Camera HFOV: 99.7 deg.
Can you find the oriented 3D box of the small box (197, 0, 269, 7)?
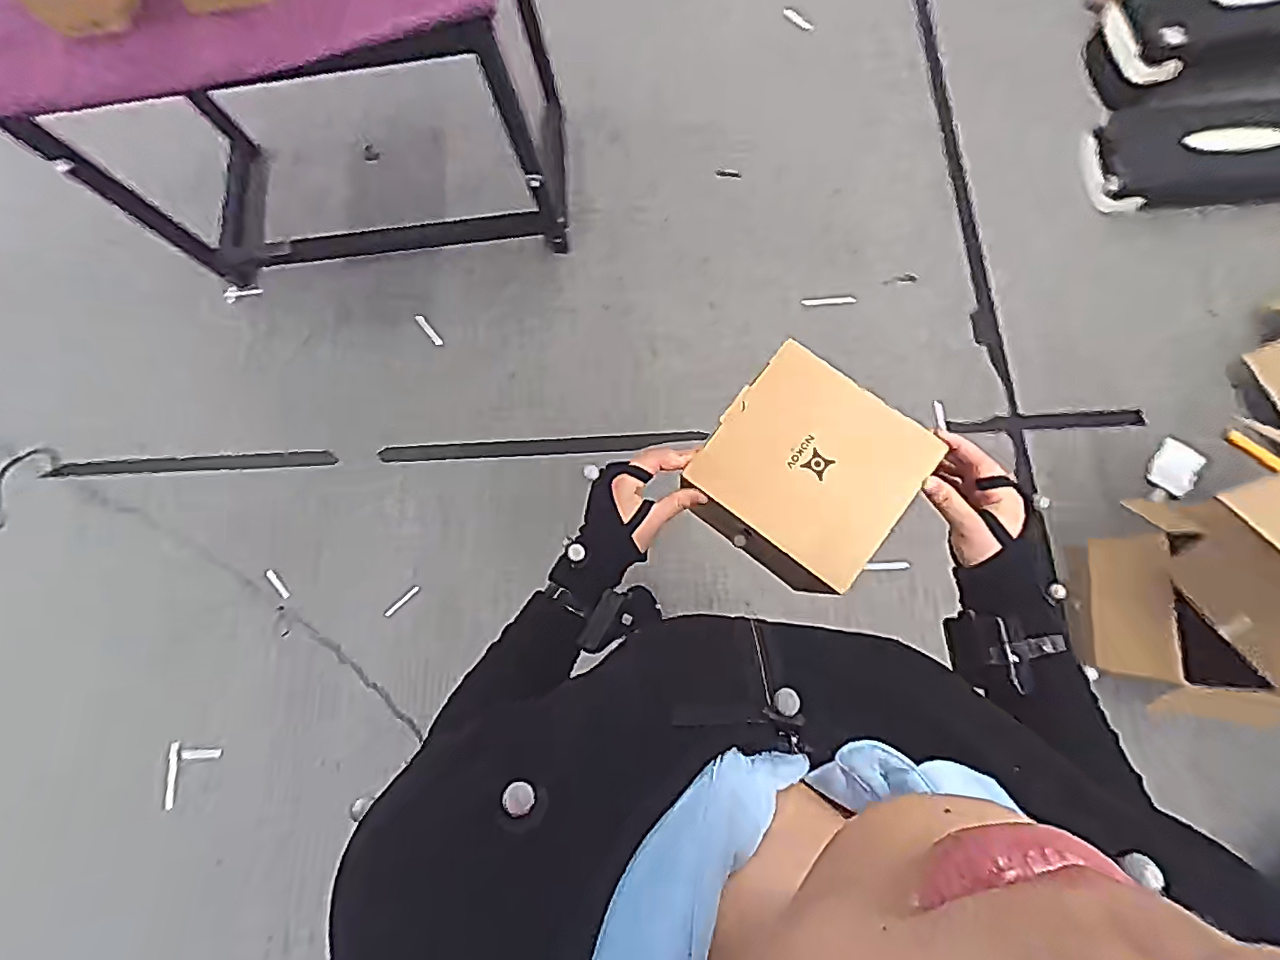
[{"bbox_3d":[-0.846,-1.085,1.068,0.179,0.176,0.168,-1,78,5],"label":"small box"}]
